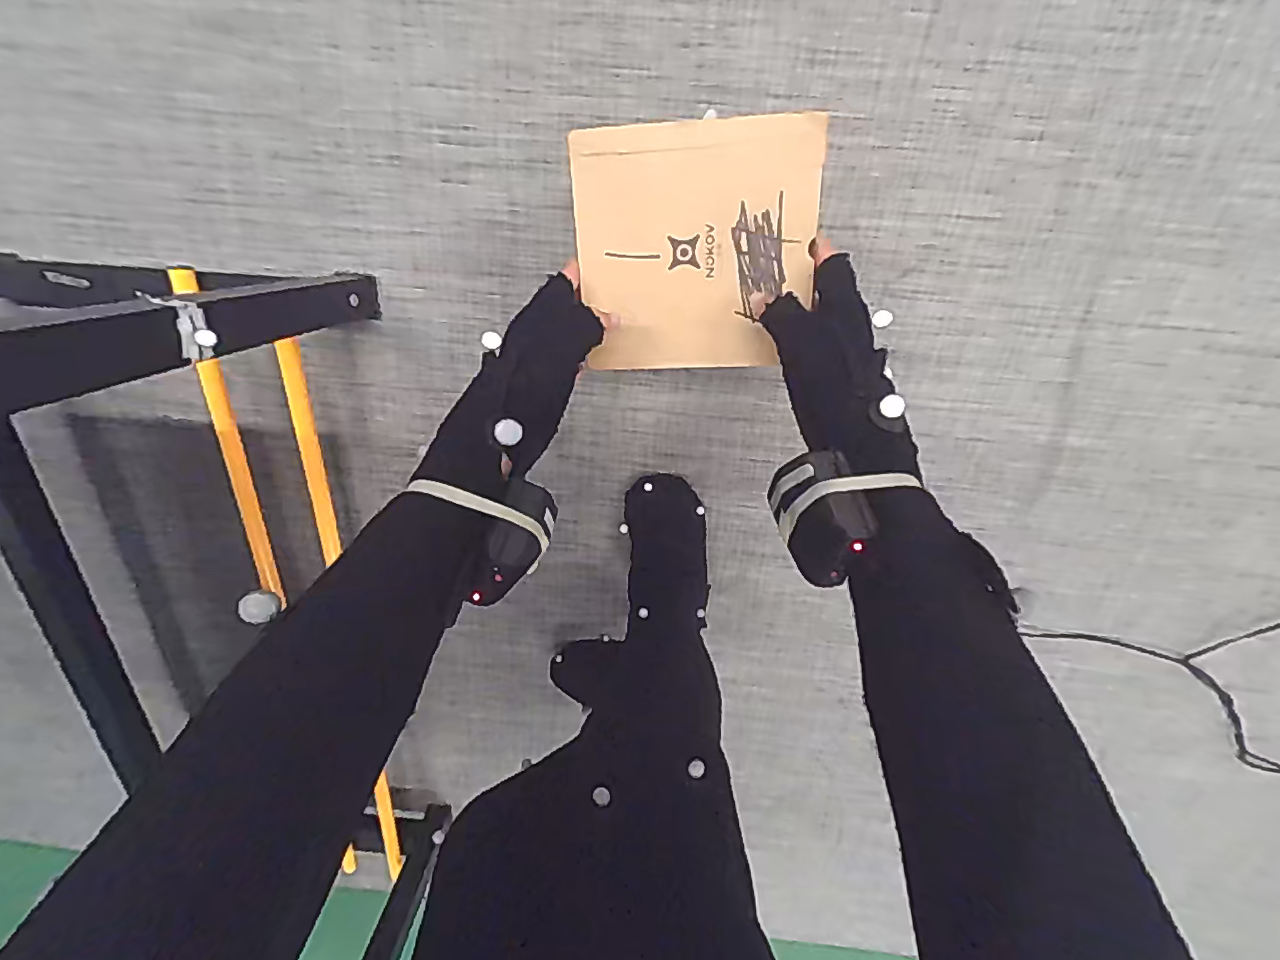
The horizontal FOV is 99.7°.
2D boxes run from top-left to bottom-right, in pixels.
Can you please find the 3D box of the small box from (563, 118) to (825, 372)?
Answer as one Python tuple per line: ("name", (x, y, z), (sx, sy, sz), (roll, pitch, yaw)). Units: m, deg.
("small box", (0.043, -0.192, 0.459), (0.179, 0.176, 0.168), (0, 113, 6))
